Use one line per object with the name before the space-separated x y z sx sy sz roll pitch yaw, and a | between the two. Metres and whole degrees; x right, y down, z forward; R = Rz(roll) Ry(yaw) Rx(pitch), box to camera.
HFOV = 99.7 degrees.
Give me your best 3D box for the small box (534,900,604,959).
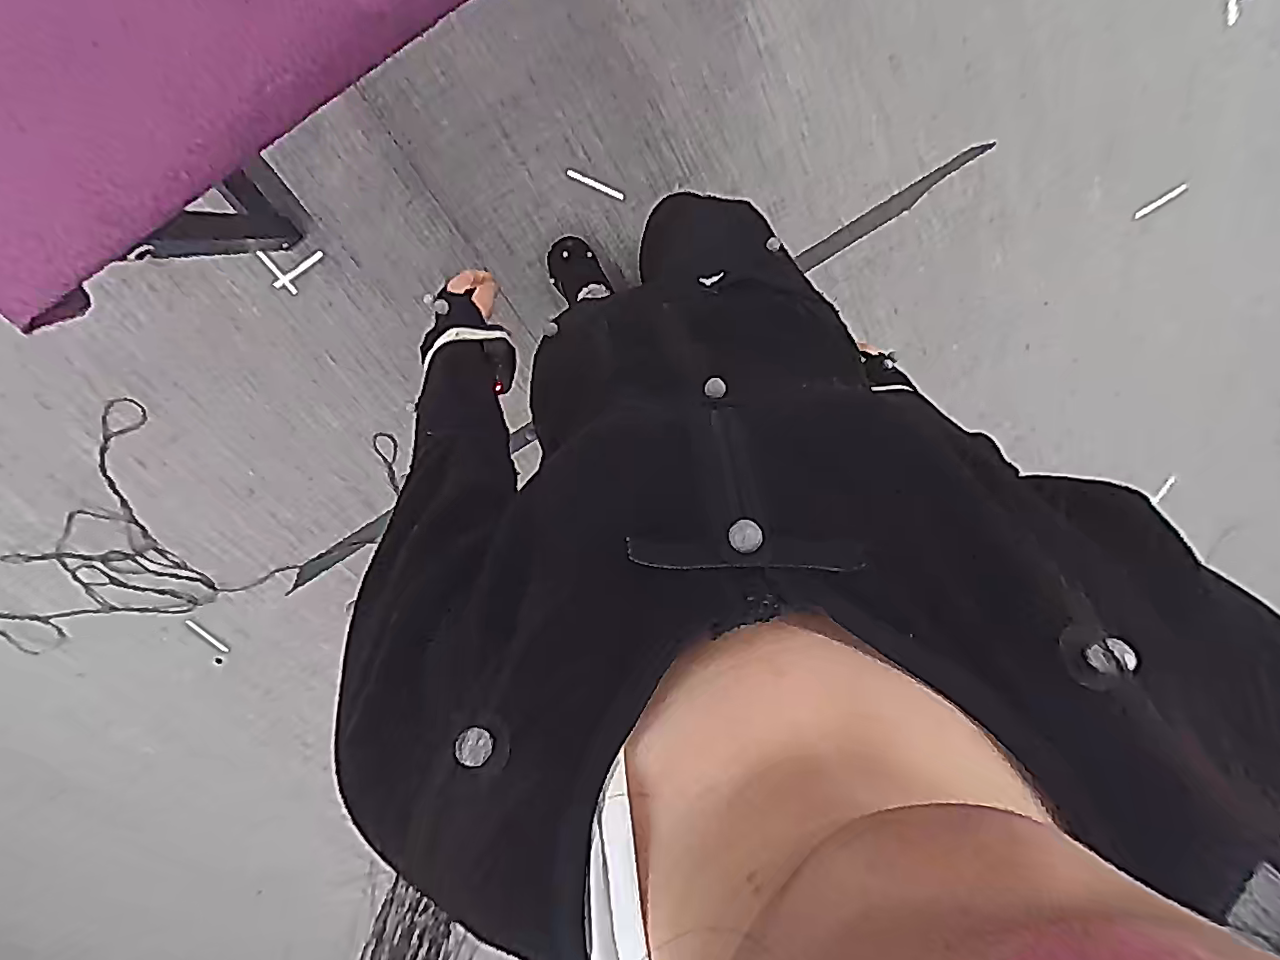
small box | -0.201 1.323 1.517 0.168 0.176 0.179 13 112 -15
